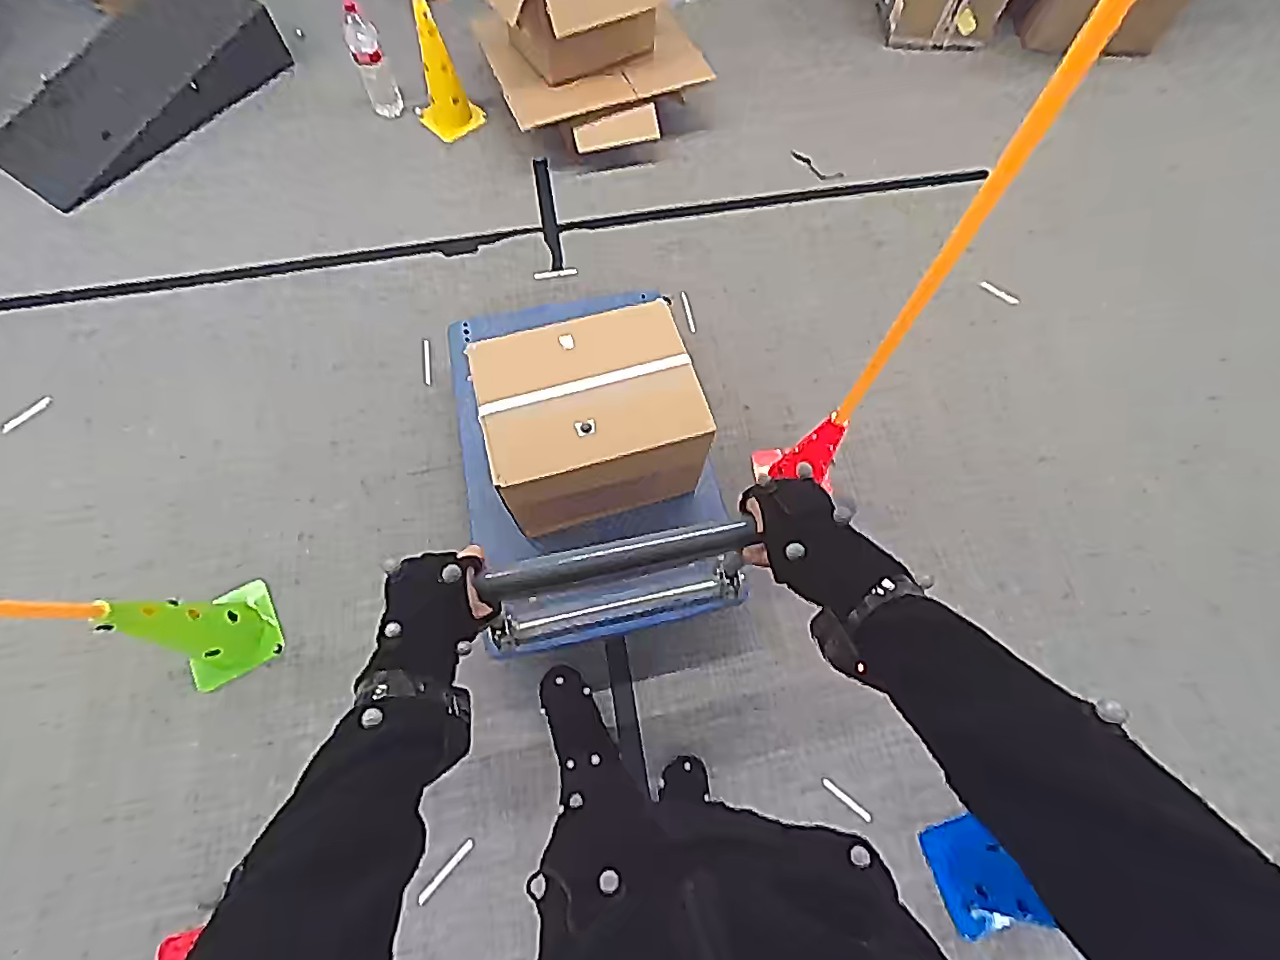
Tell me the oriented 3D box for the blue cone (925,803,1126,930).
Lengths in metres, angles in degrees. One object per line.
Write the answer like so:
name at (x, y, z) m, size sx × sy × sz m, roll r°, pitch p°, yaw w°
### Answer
blue cone at (0.720, 0.744, 0.987) m, size 0.193 × 0.380 × 0.192 m, roll -13°, pitch 67°, yaw -7°

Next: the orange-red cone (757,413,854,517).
orange-red cone at (0.427, -0.061, 1.295) m, size 0.199 × 0.360 × 0.198 m, roll -3°, pitch 68°, yaw -4°
